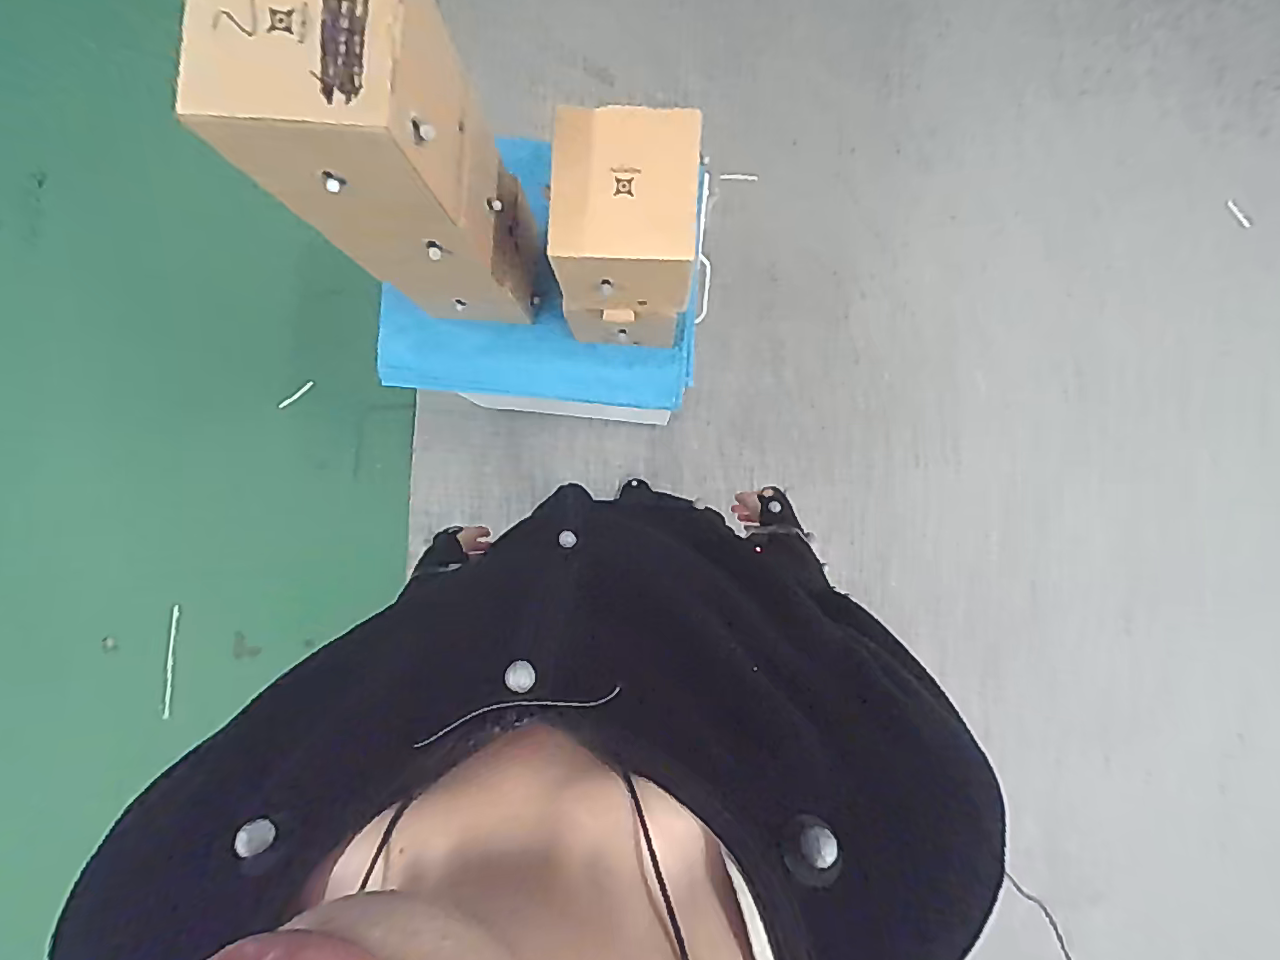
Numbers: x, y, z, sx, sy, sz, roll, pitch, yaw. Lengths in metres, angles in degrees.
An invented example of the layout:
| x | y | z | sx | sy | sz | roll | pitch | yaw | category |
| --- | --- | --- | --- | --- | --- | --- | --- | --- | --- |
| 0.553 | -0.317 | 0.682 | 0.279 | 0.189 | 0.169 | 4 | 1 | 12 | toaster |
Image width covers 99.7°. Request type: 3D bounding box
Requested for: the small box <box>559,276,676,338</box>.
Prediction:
| x | y | z | sx | sy | sz | roll | pitch | yaw | category |
| --- | --- | --- | --- | --- | --- | --- | --- | --- | --- |
| -0.023 | -0.326 | 0.828 | 0.168 | 0.176 | 0.179 | 4 | 89 | 0 | small box |

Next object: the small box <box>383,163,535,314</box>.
| x | y | z | sx | sy | sz | roll | pitch | yaw | category |
| --- | --- | --- | --- | --- | --- | --- | --- | --- | --- |
| -0.265 | -0.363 | 0.828 | 0.179 | 0.176 | 0.168 | 4 | 88 | 0 | small box |

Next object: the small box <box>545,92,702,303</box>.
| x | y | z | sx | sy | sz | roll | pitch | yaw | category |
| --- | --- | --- | --- | --- | --- | --- | --- | --- | --- |
| -0.016 | -0.331 | 0.665 | 0.168 | 0.176 | 0.179 | 2 | 87 | 1 | small box |

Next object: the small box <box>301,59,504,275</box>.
| x | y | z | sx | sy | sz | roll | pitch | yaw | category |
| --- | --- | --- | --- | --- | --- | --- | --- | --- | --- |
| -0.274 | -0.366 | 0.664 | 0.179 | 0.176 | 0.168 | 4 | 88 | 0 | small box |
